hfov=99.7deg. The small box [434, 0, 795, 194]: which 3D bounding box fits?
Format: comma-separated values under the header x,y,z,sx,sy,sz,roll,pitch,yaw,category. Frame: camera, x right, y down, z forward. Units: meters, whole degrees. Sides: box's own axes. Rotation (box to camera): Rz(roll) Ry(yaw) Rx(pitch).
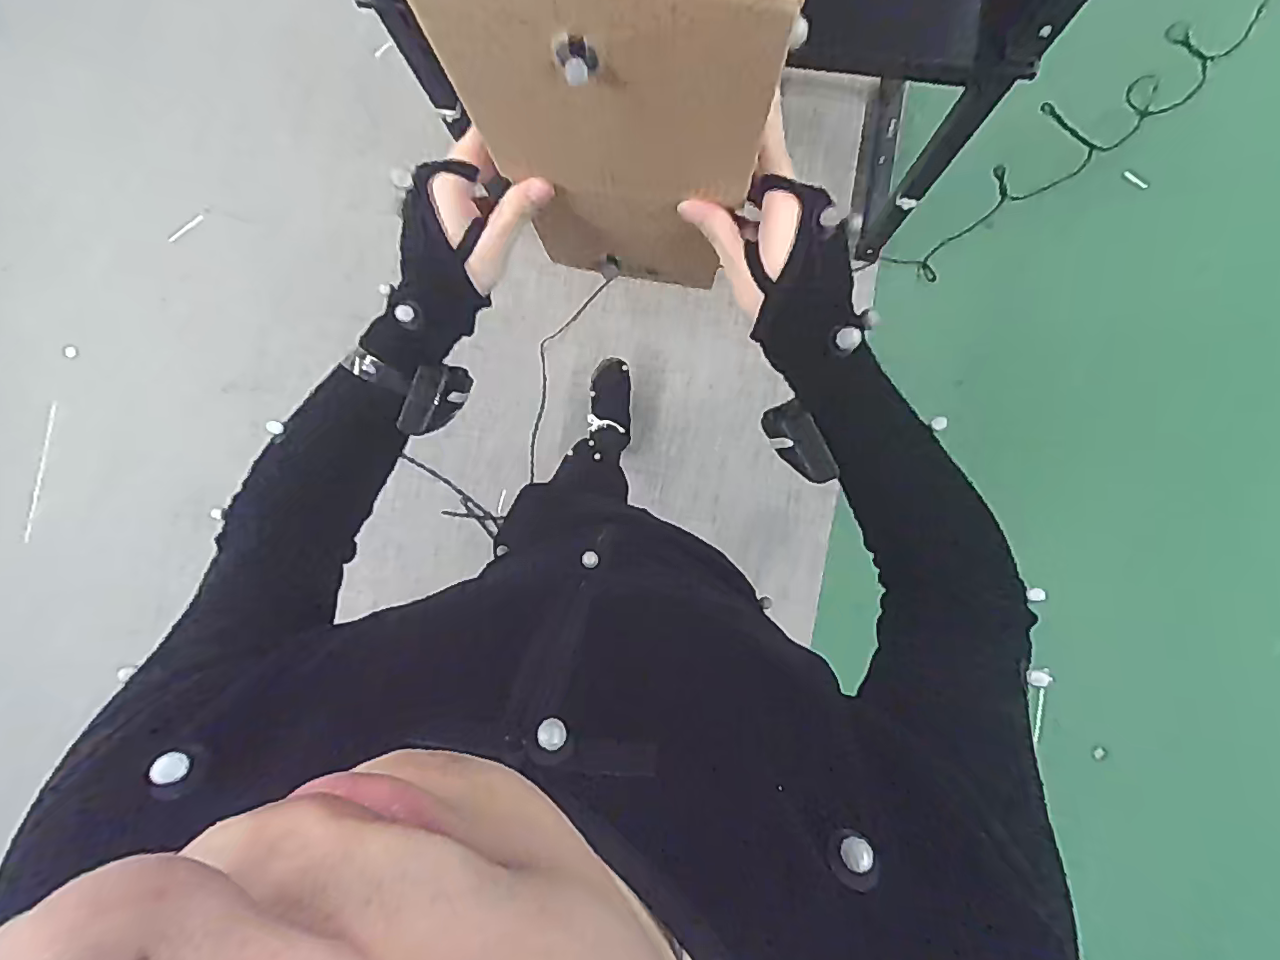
x,y,z,sx,sy,sz,roll,pitch,yaw,category
-0.004,-0.283,0.293,0.179,0.176,0.168,9,91,3,small box
